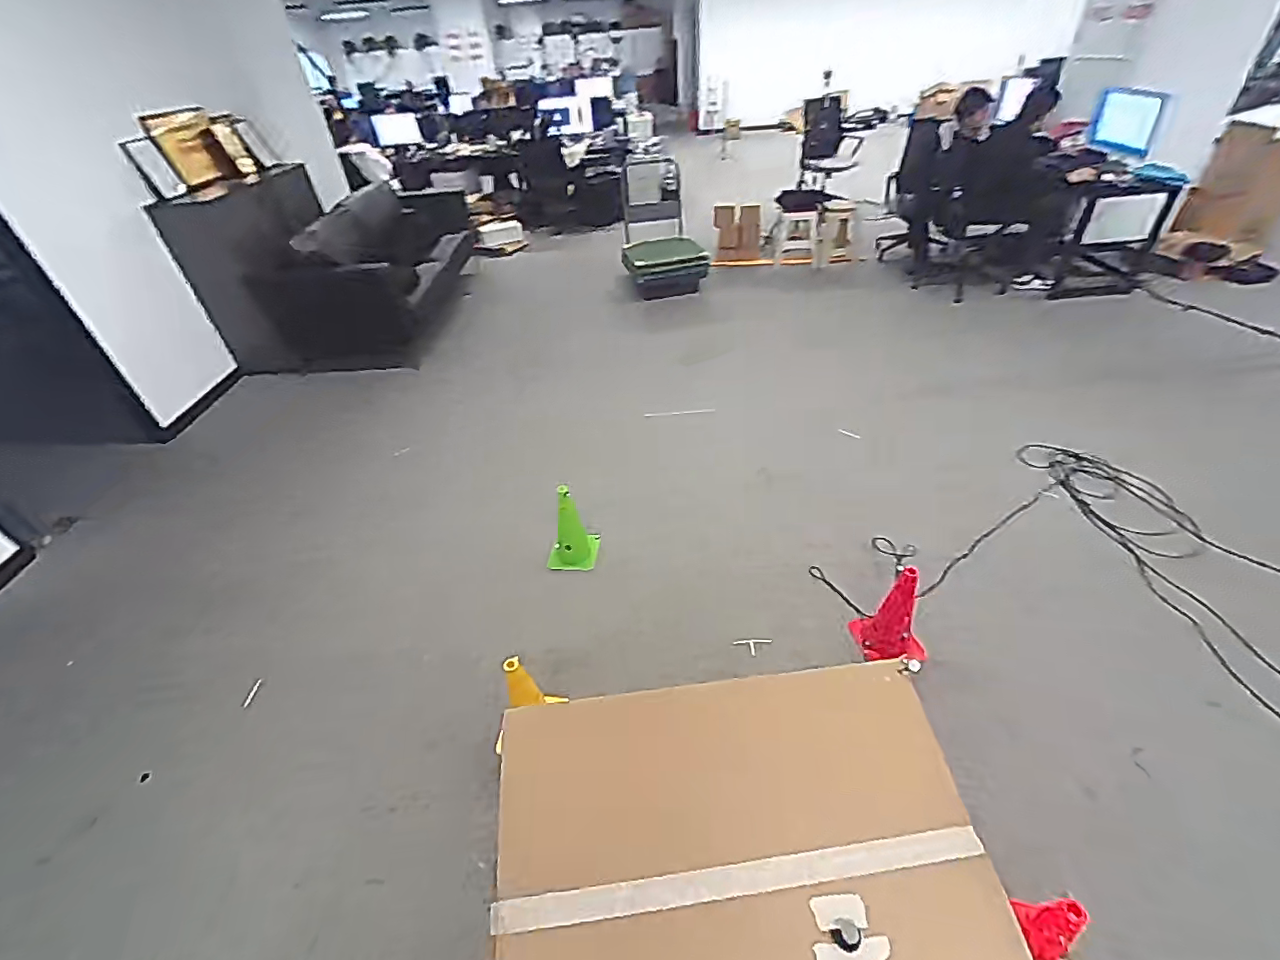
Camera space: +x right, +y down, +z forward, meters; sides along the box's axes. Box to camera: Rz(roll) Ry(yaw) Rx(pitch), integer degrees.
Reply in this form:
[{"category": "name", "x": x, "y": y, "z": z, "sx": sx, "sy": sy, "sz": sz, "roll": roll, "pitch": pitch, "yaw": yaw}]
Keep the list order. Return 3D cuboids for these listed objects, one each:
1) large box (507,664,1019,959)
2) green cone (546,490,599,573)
[{"category": "large box", "x": 0.087, "y": 0.423, "z": 0.570, "sx": 0.408, "sy": 0.320, "sz": 0.320, "roll": -6, "pitch": 53, "yaw": -5}, {"category": "green cone", "x": -0.297, "y": 0.184, "z": 2.182, "sx": 0.200, "sy": 0.368, "sz": 0.202, "roll": 0, "pitch": 40, "yaw": 7}]
